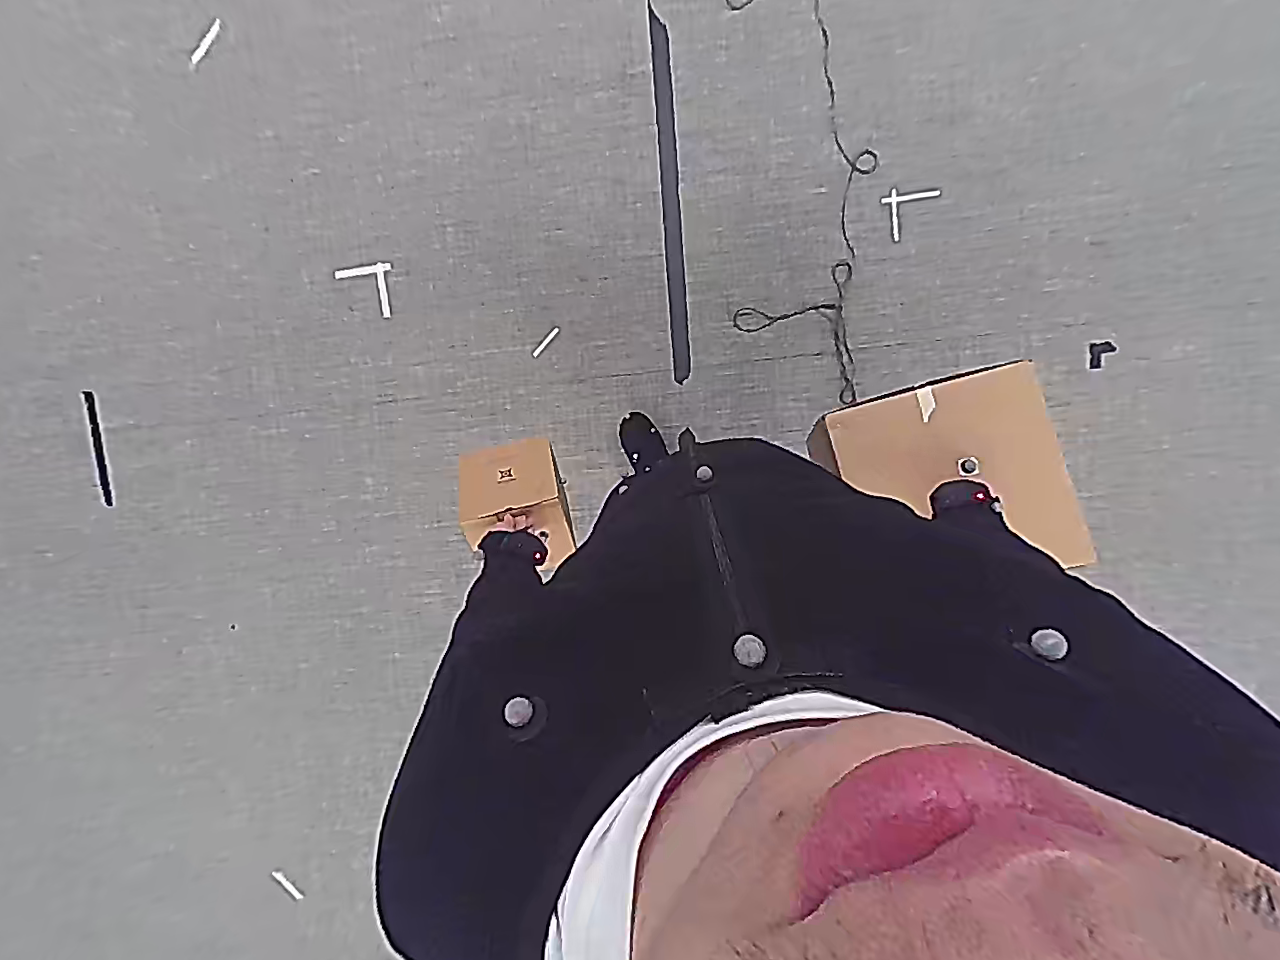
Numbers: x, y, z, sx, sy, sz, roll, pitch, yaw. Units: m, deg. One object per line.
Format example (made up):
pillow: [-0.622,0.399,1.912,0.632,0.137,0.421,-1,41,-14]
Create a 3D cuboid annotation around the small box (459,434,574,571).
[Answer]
small box: [-0.223,0.047,0.991,0.168,0.179,0.176,-13,135,-6]
